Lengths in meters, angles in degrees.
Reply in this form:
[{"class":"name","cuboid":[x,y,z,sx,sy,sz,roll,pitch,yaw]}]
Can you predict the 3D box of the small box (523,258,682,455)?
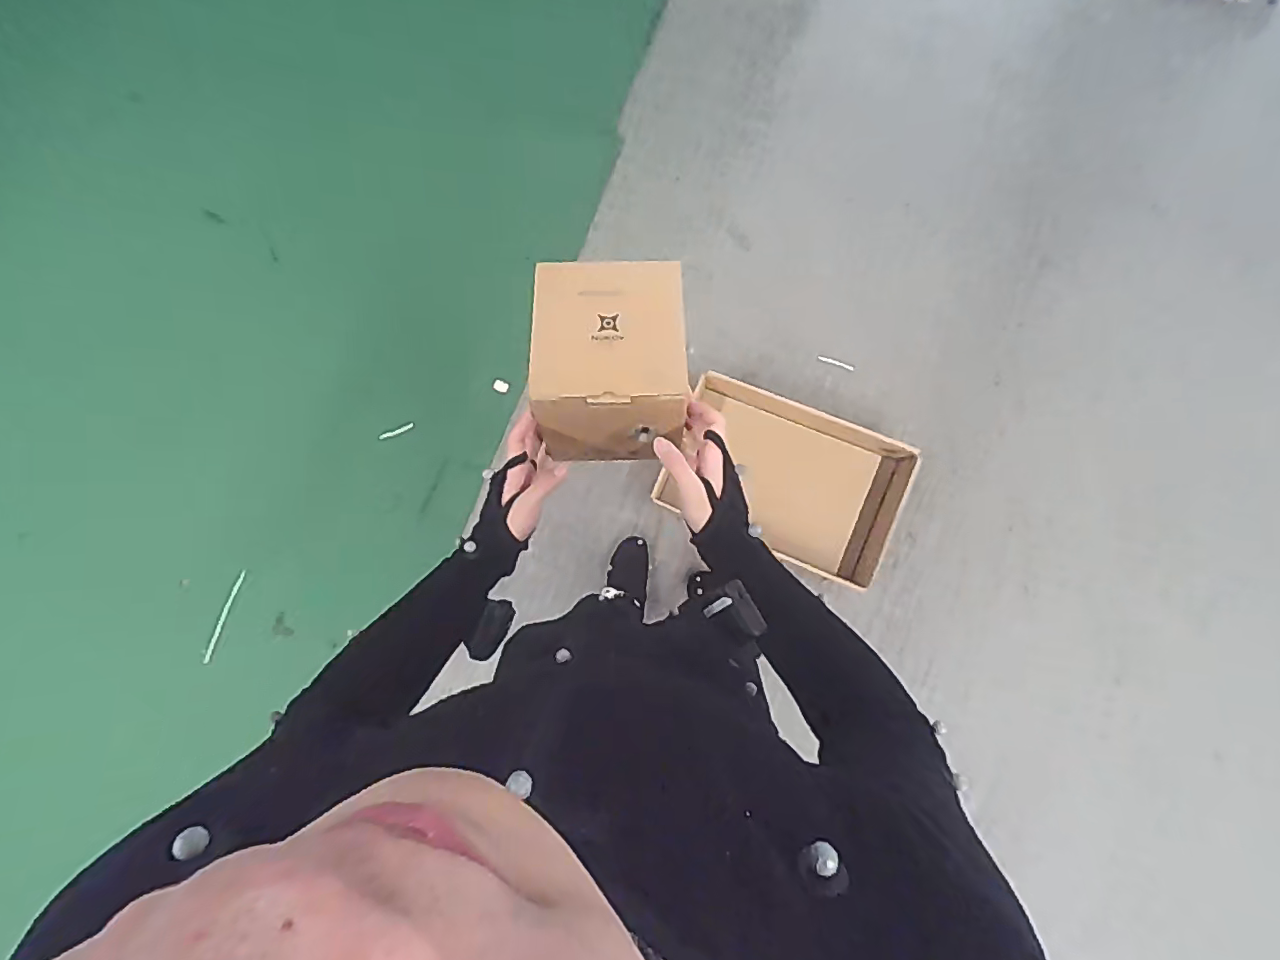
[{"class":"small box","cuboid":[-0.037,-0.137,0.648,0.168,0.176,0.179,0,69,0]}]
